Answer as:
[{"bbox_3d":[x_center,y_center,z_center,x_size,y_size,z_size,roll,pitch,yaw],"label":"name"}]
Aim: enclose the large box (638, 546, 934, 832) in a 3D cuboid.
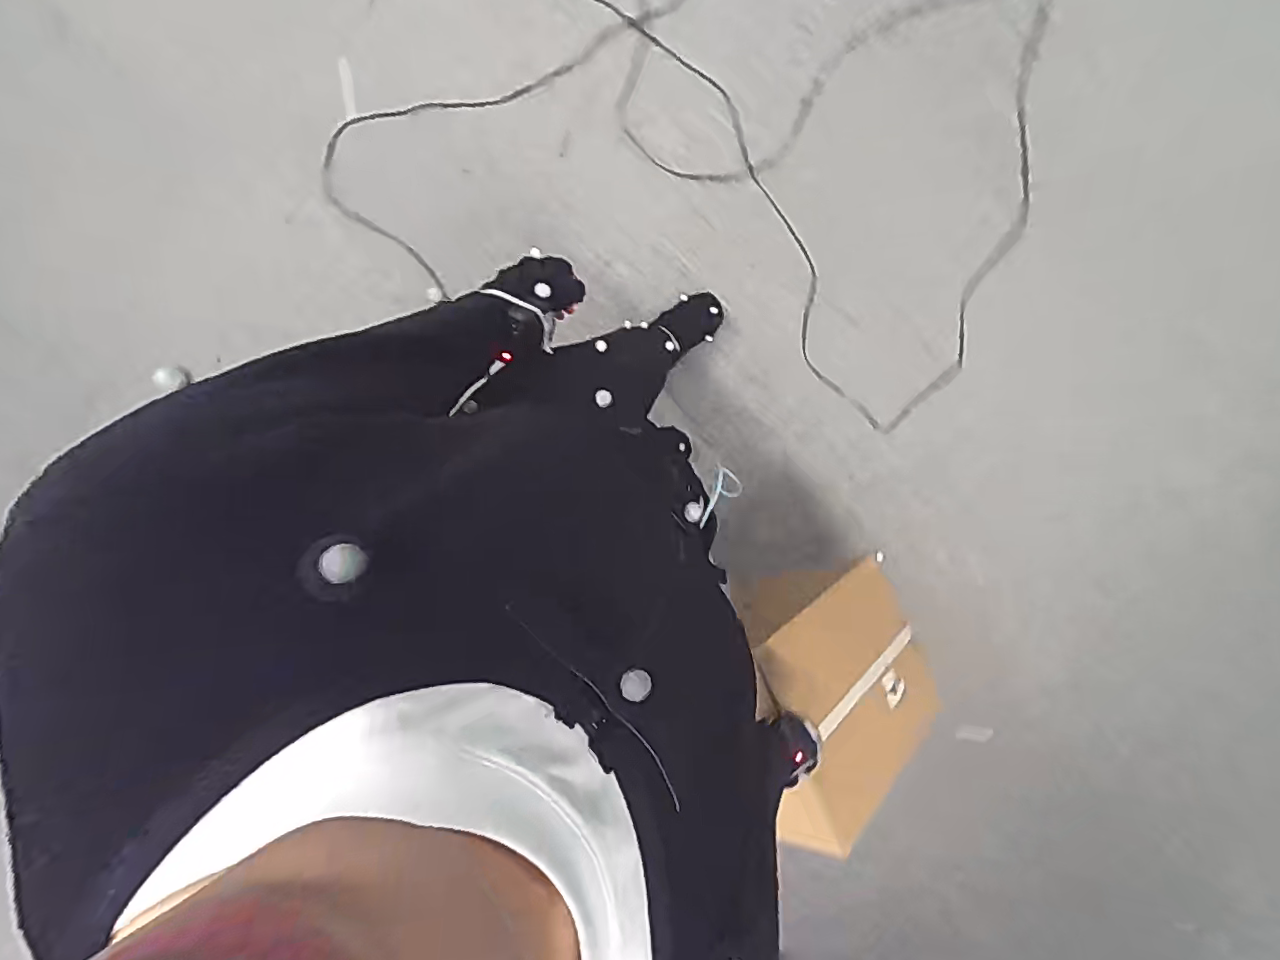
[{"bbox_3d":[0.276,0.368,1.026,0.320,0.408,0.320,-28,85,49],"label":"large box"}]
